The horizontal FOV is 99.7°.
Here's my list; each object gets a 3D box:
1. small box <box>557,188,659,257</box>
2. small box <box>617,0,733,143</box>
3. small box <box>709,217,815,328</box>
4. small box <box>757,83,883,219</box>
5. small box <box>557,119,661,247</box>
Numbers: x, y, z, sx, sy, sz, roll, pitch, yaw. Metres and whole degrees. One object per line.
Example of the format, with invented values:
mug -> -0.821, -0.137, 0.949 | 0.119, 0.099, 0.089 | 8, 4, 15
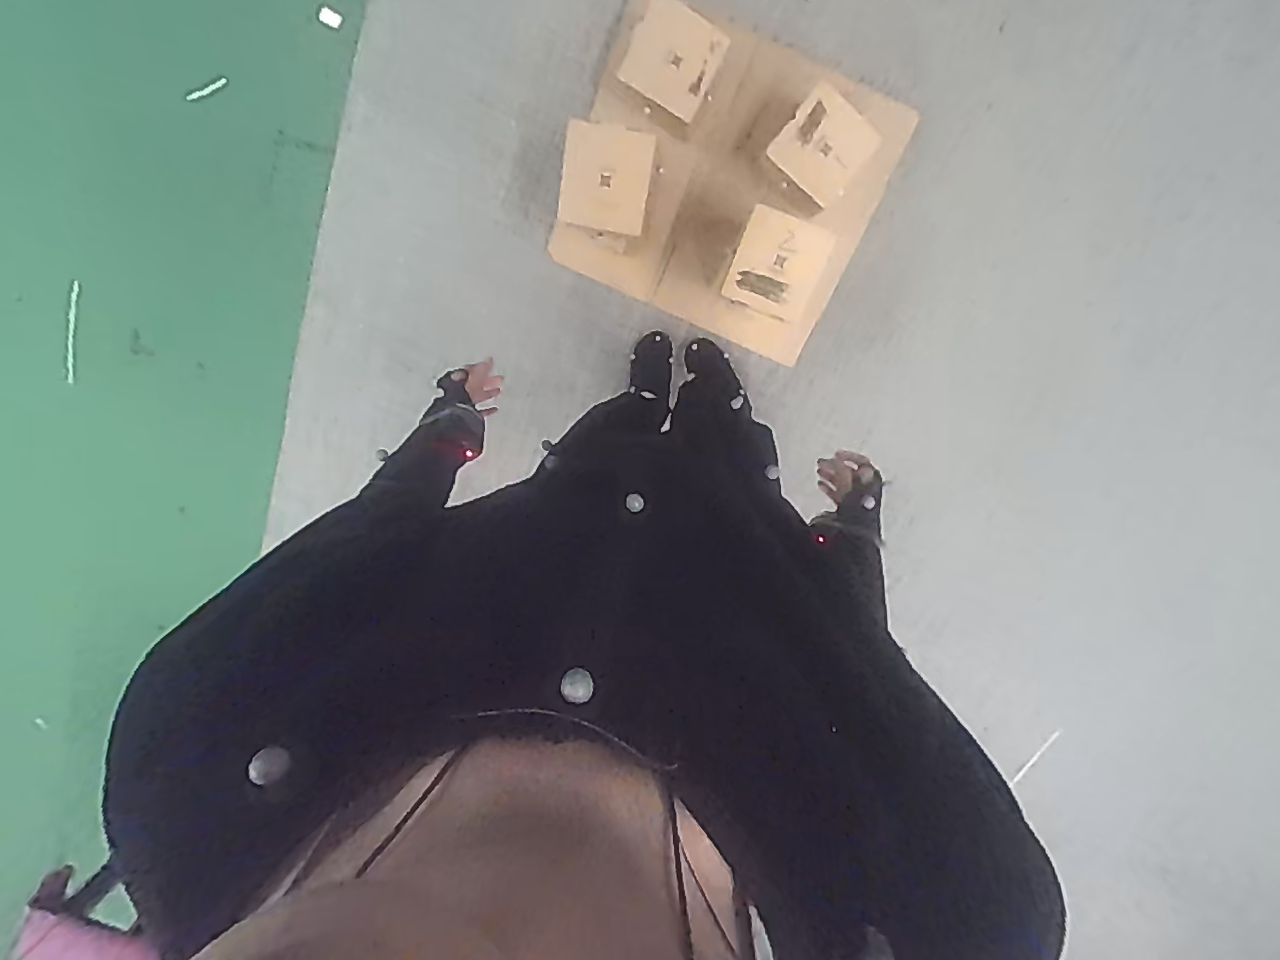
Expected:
small box -> -0.064, -0.628, 1.230 | 0.168, 0.176, 0.179 | 28, 108, -5
small box -> 0.074, -0.852, 1.142 | 0.179, 0.176, 0.168 | 30, 108, -4
small box -> 0.272, -0.471, 1.249 | 0.168, 0.176, 0.179 | 27, 108, -4
small box -> 0.374, -0.691, 1.164 | 0.179, 0.176, 0.168 | 38, 107, -9
small box -> -0.055, -0.577, 1.072 | 0.168, 0.176, 0.179 | 12, 109, 2
